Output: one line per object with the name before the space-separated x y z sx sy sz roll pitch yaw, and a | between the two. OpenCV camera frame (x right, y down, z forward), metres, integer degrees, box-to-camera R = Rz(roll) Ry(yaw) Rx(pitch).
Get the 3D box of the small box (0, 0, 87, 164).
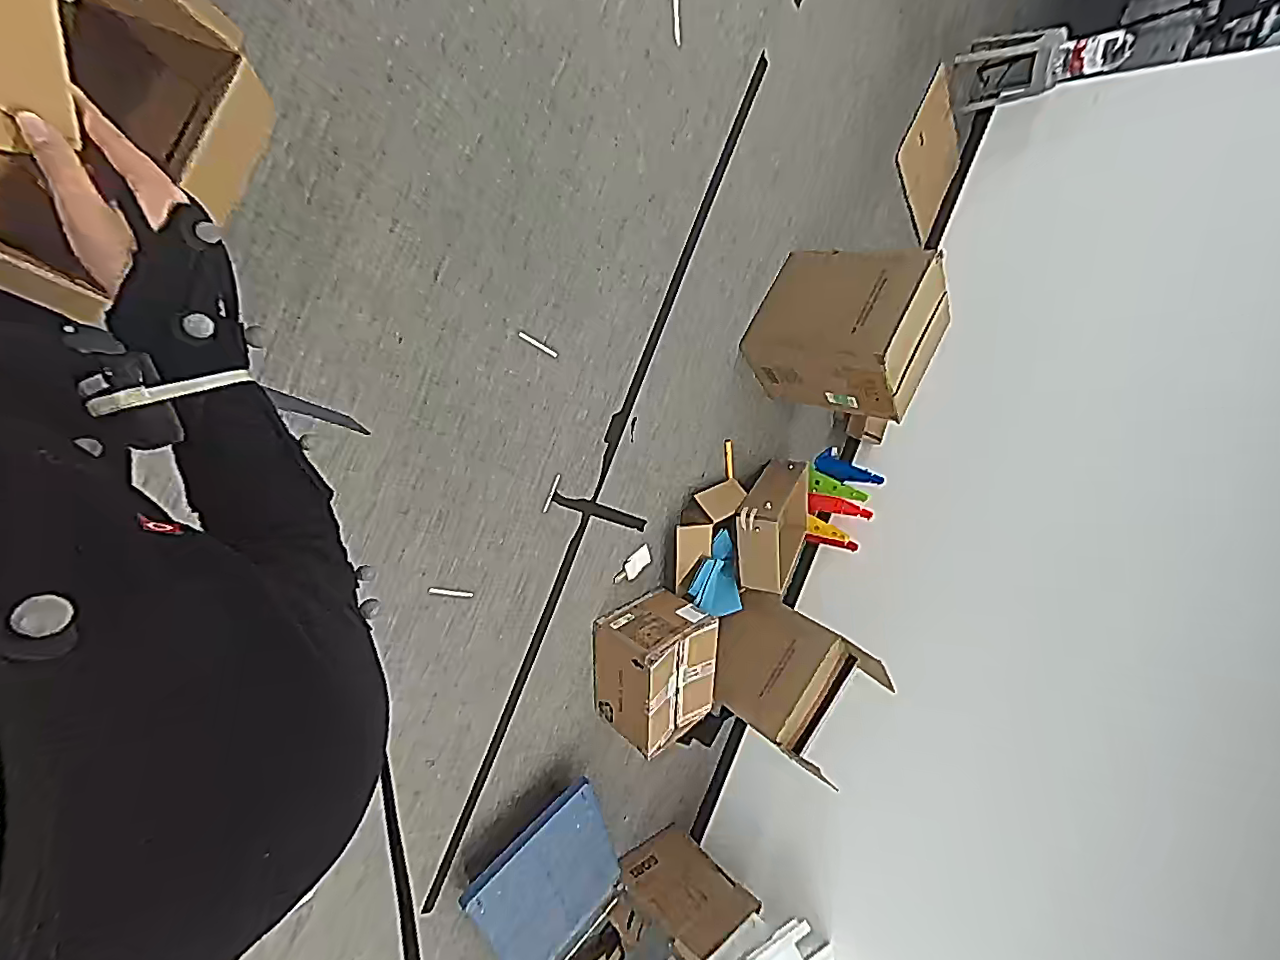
small box | -0.434 -0.284 0.286 0.179 0.176 0.168 -11 118 -44
